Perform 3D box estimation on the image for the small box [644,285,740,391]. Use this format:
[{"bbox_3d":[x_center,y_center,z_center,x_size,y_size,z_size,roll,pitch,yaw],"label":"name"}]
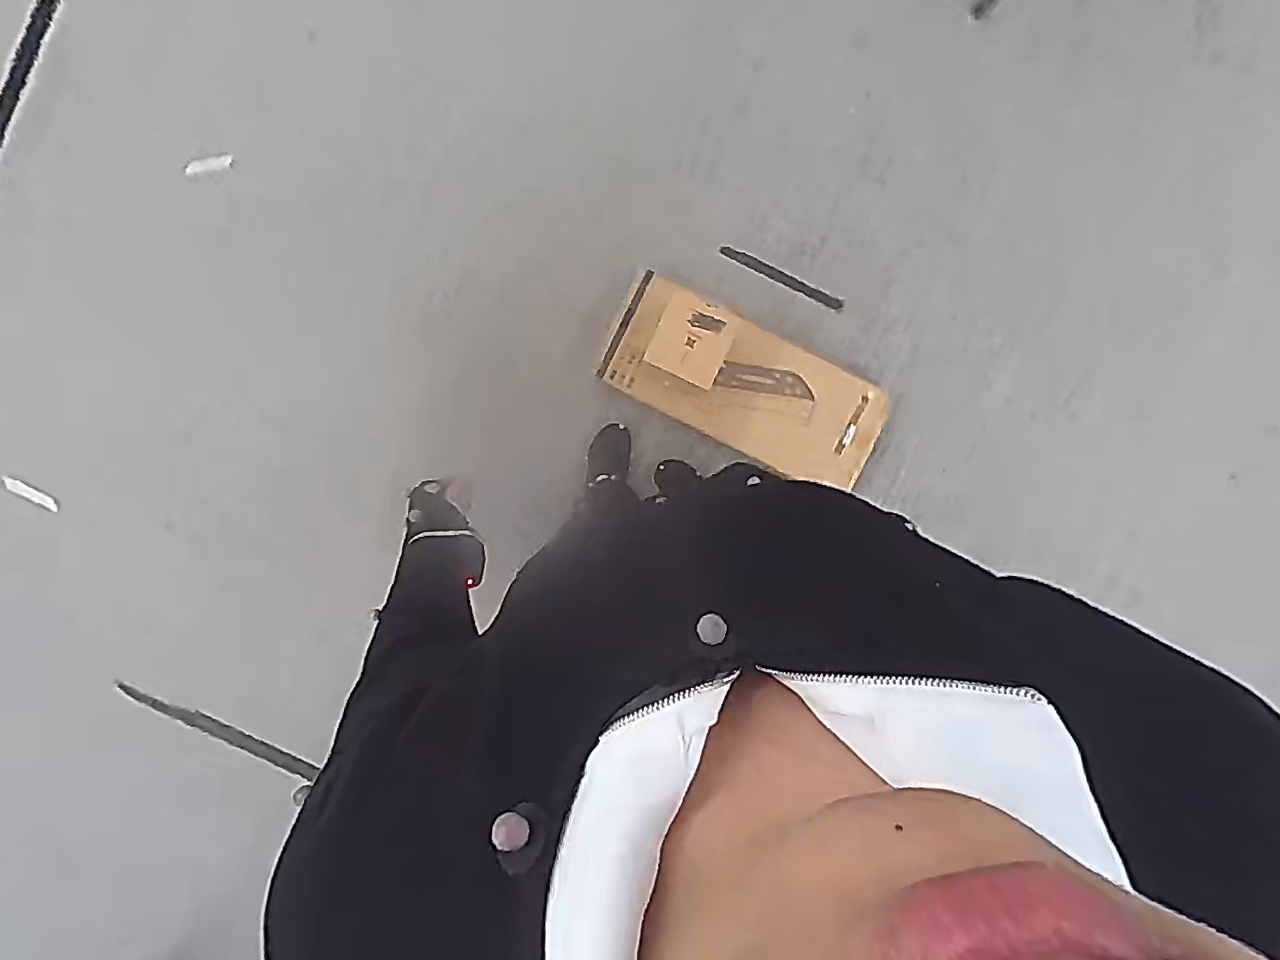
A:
[{"bbox_3d":[0.112,-0.326,1.277,0.168,0.176,0.179,25,95,-3],"label":"small box"}]
